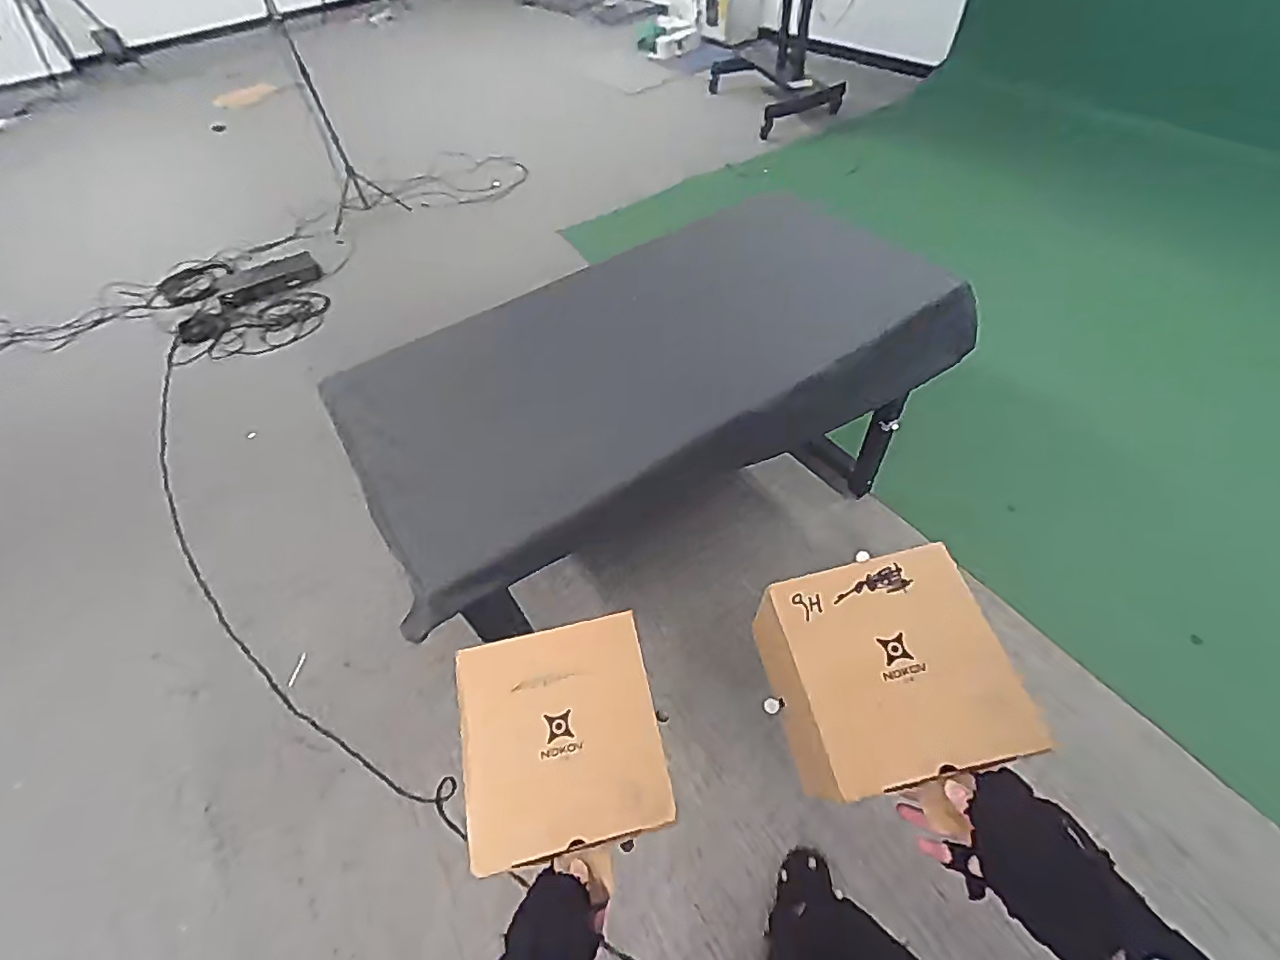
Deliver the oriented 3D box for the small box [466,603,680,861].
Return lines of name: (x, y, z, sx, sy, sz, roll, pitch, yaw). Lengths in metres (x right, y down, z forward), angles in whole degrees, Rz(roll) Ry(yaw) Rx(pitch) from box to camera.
small box: (-0.064, 0.246, 0.538, 0.168, 0.176, 0.179, -12, 61, -8)
